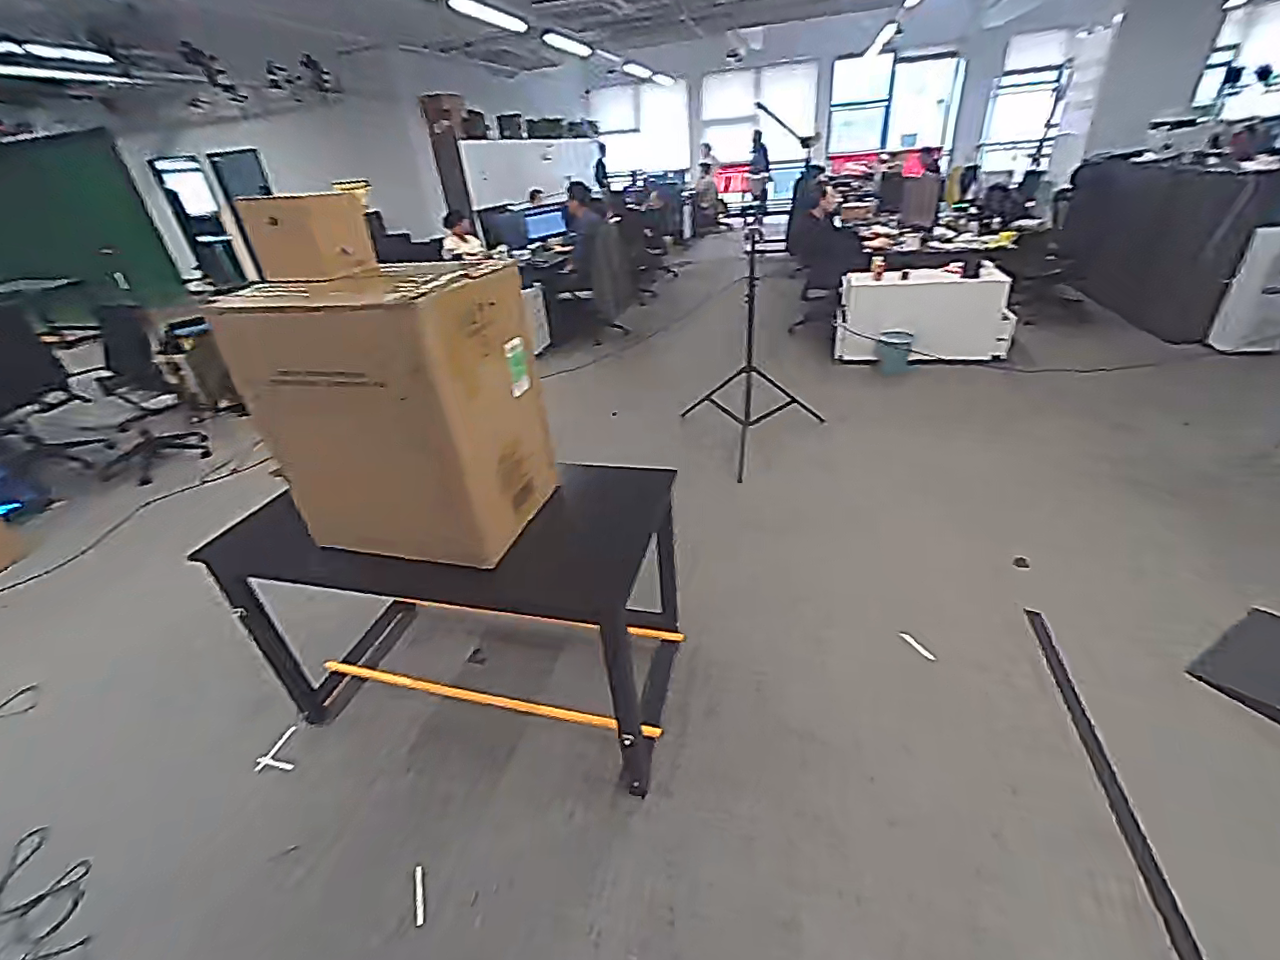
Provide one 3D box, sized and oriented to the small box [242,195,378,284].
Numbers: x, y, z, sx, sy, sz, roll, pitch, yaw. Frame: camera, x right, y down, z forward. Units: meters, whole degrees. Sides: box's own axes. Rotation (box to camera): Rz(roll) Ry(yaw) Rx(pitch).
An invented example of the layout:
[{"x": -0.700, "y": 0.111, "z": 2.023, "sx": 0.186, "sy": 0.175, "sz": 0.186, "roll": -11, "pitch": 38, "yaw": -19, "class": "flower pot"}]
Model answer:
[{"x": -0.737, "y": -0.545, "z": 1.228, "sx": 0.179, "sy": 0.176, "sz": 0.168, "roll": 5, "pitch": 31, "yaw": 14, "class": "small box"}]
